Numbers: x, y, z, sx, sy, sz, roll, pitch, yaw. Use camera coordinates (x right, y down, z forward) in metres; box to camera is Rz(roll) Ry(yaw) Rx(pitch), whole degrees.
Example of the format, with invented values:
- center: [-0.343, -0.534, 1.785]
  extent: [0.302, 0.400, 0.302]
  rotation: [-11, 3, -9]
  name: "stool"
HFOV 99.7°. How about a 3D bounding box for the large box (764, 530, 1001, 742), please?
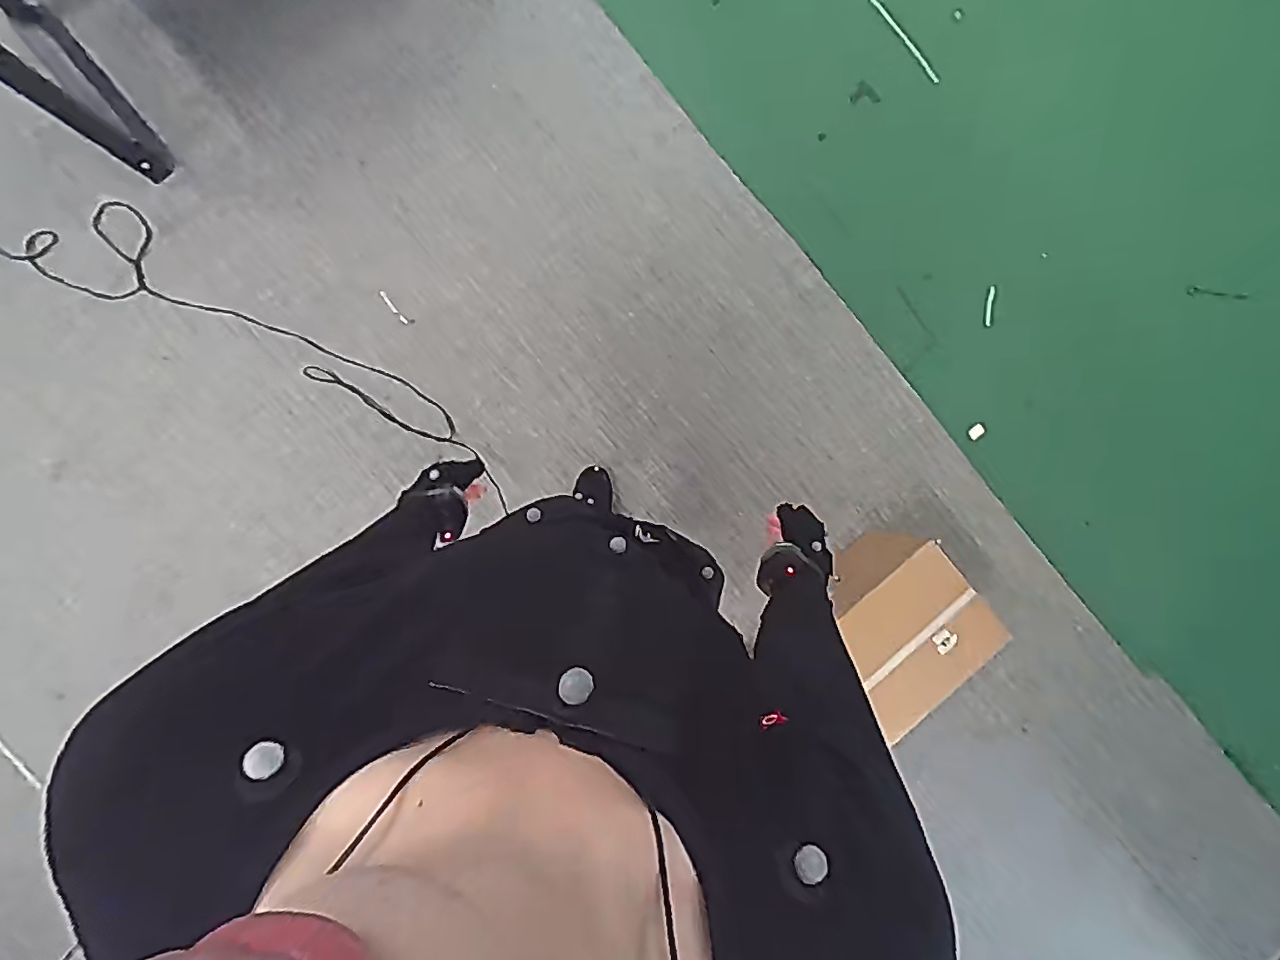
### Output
- center: [0.606, 0.377, 1.416]
  extent: [0.408, 0.320, 0.320]
  rotation: [-39, 92, -5]
  name: "large box"
